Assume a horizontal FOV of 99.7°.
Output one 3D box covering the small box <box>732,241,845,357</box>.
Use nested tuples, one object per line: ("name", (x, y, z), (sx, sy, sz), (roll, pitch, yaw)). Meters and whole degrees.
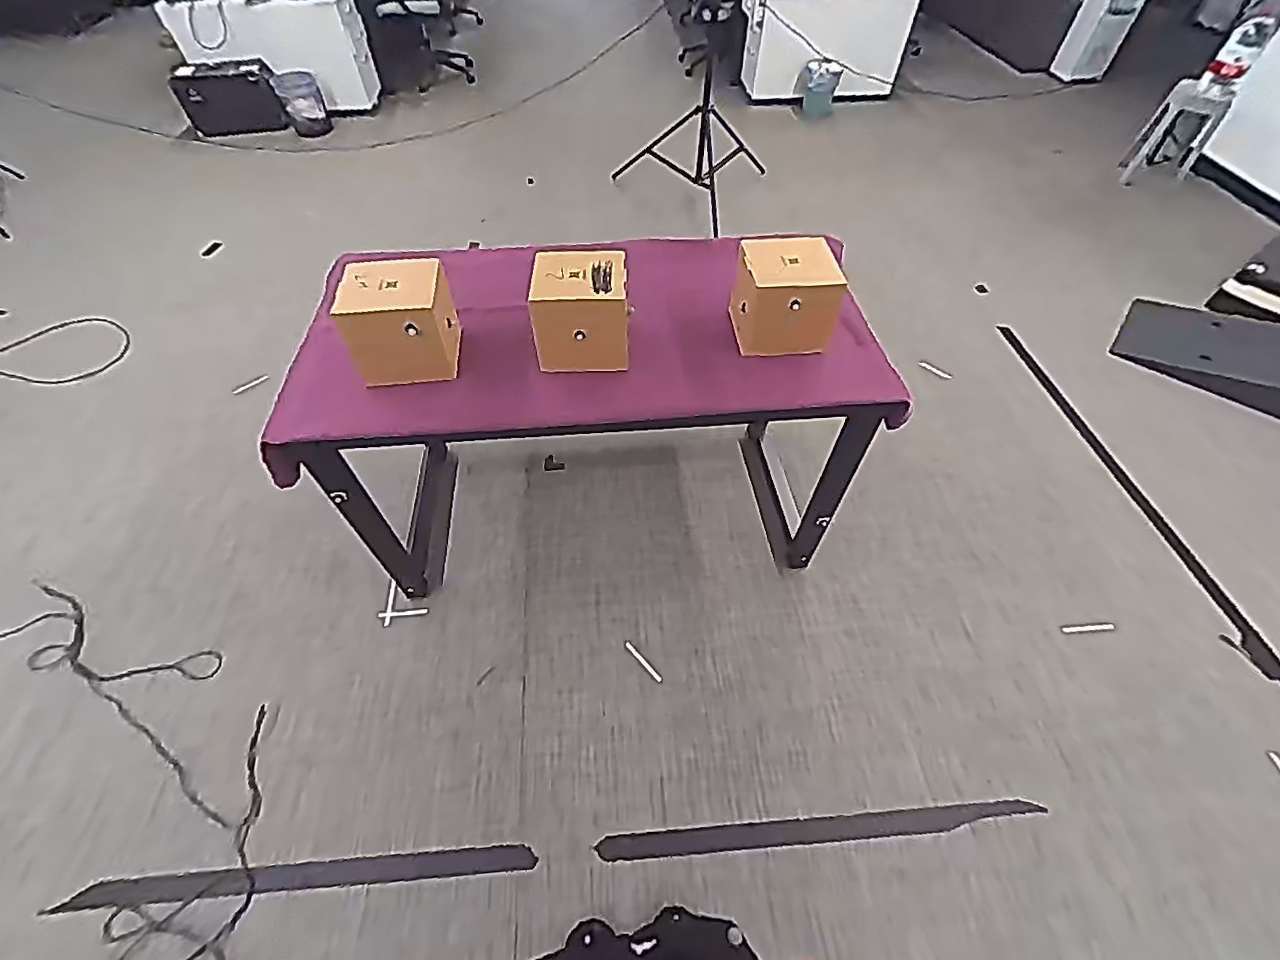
("small box", (0.290, -0.367, 1.109), (0.179, 0.176, 0.168), (-3, 53, -3))

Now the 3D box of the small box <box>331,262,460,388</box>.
("small box", (-0.457, -0.296, 1.046), (0.179, 0.176, 0.168), (-6, 51, -5))
